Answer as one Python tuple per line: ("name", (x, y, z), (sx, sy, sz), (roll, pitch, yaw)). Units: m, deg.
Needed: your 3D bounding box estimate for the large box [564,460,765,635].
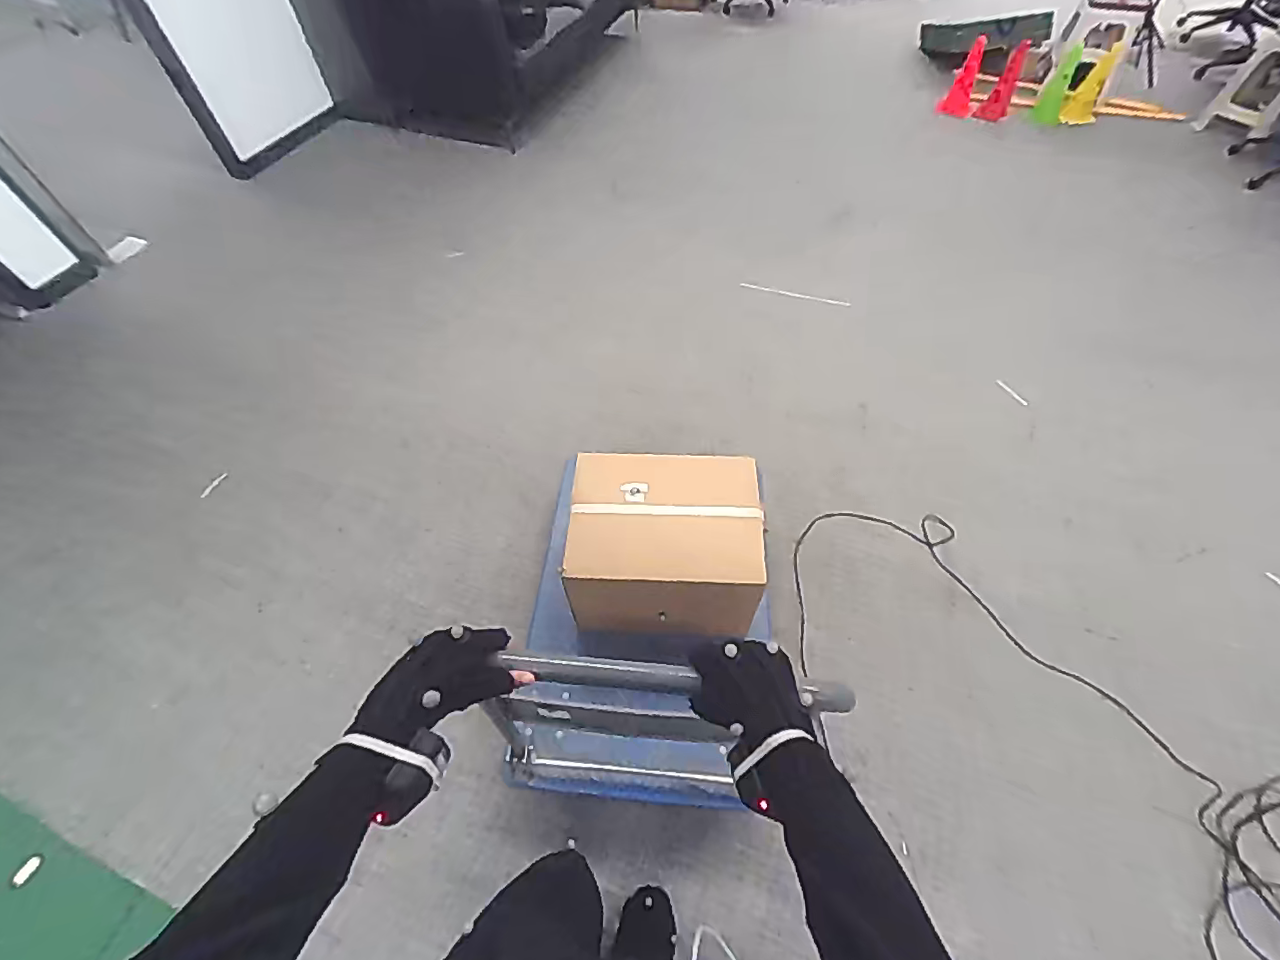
("large box", (0.055, 0.165, 1.266), (0.408, 0.320, 0.320), (1, 54, 2))
